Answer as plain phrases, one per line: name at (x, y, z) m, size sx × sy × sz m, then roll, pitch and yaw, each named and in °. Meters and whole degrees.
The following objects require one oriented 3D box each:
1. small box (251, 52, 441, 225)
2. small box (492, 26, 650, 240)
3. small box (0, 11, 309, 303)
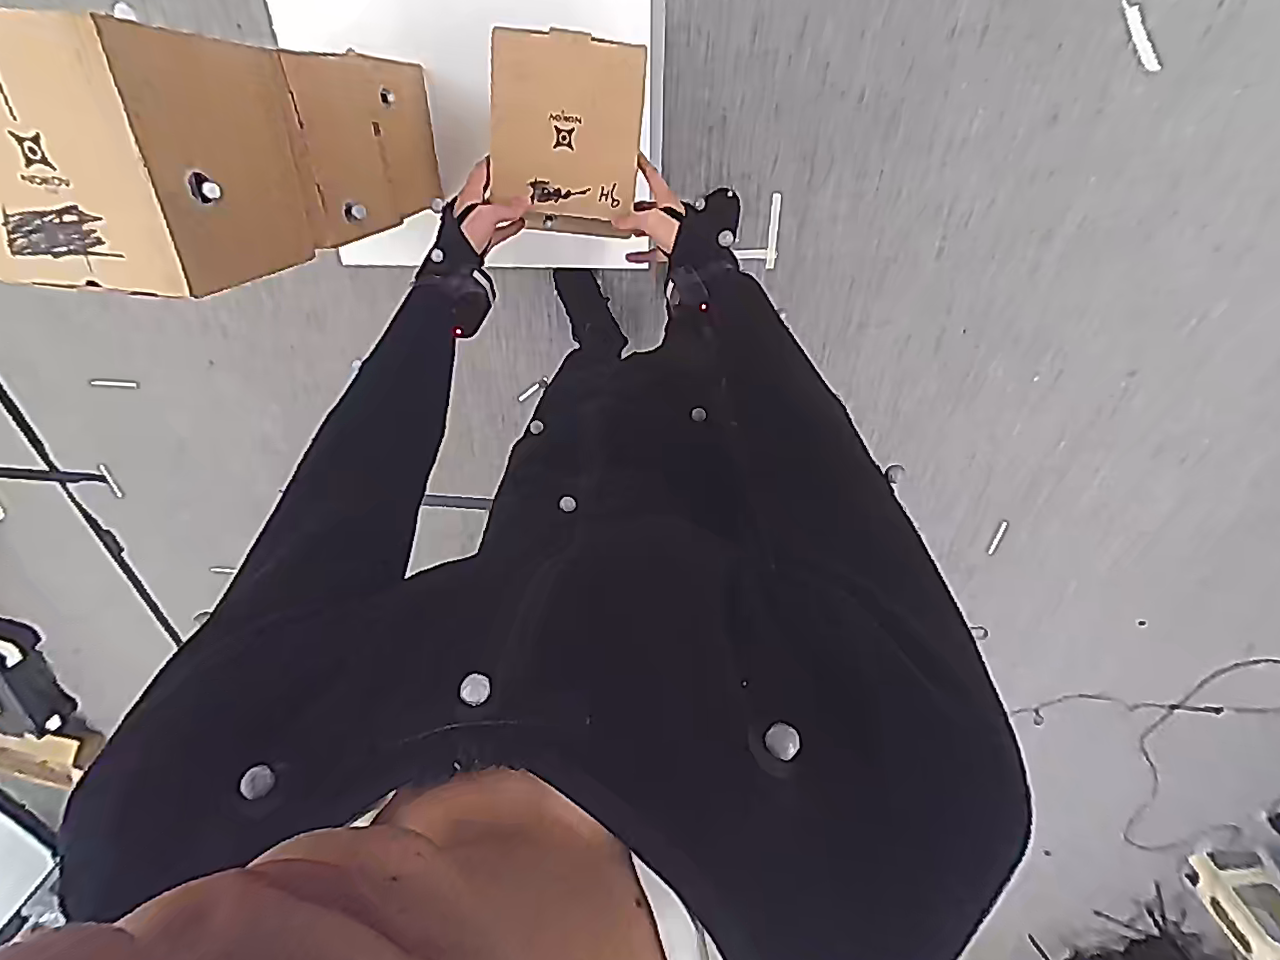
small box at (-0.382, -0.450, 0.717) m, size 0.168 × 0.176 × 0.179 m, roll 3°, pitch 123°, yaw 2°
small box at (-0.081, -0.408, 0.669) m, size 0.168 × 0.176 × 0.179 m, roll 5°, pitch 108°, yaw -3°
small box at (-0.413, -0.264, 0.447) m, size 0.168 × 0.176 × 0.179 m, roll 6°, pitch 123°, yaw 1°
